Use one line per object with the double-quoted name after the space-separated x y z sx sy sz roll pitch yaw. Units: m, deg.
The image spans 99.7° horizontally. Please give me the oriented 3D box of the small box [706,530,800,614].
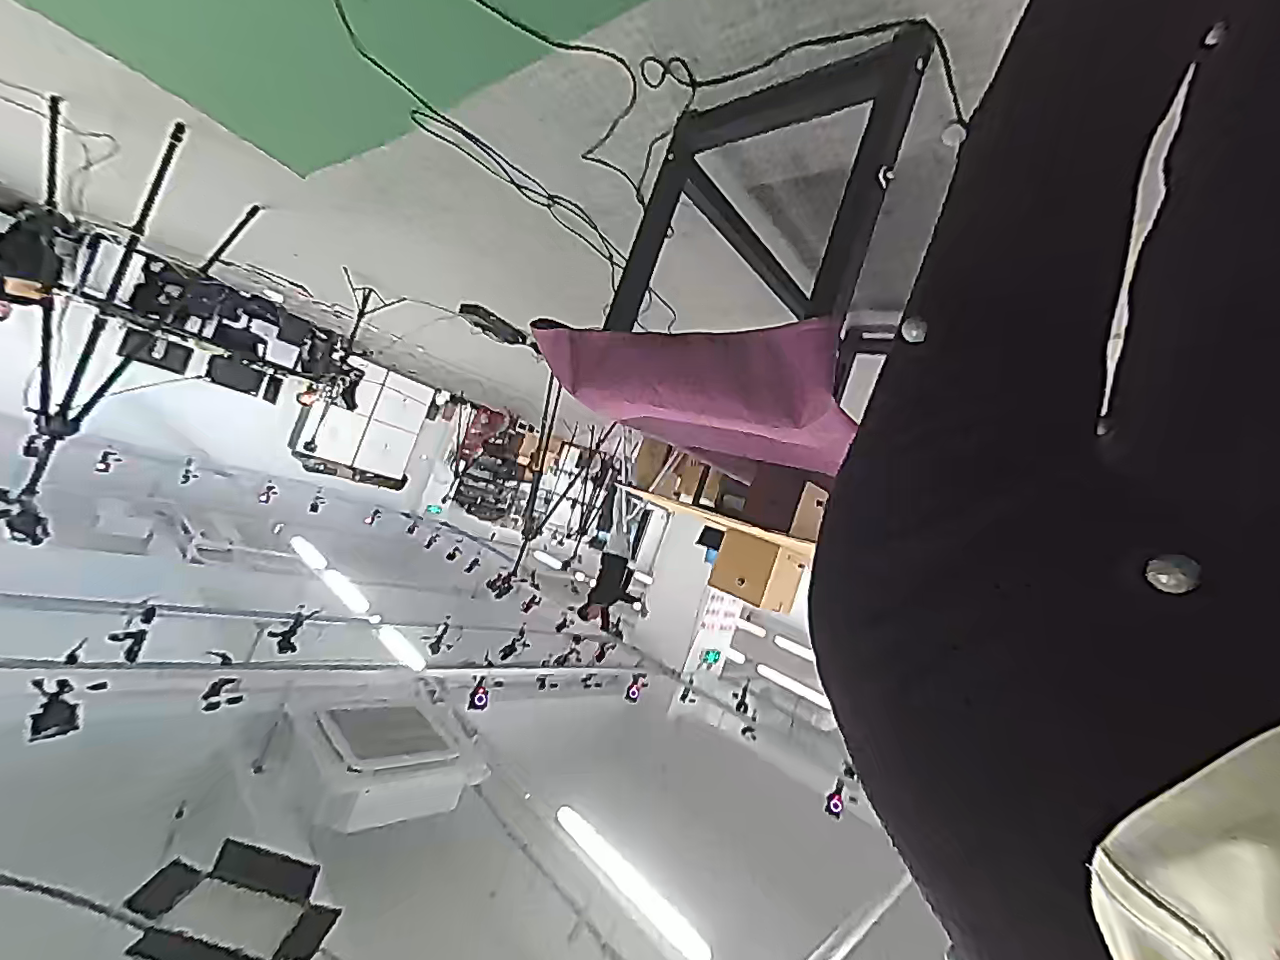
0.315 0.246 1.469 0.179 0.176 0.168 17 174 45 "small box"
